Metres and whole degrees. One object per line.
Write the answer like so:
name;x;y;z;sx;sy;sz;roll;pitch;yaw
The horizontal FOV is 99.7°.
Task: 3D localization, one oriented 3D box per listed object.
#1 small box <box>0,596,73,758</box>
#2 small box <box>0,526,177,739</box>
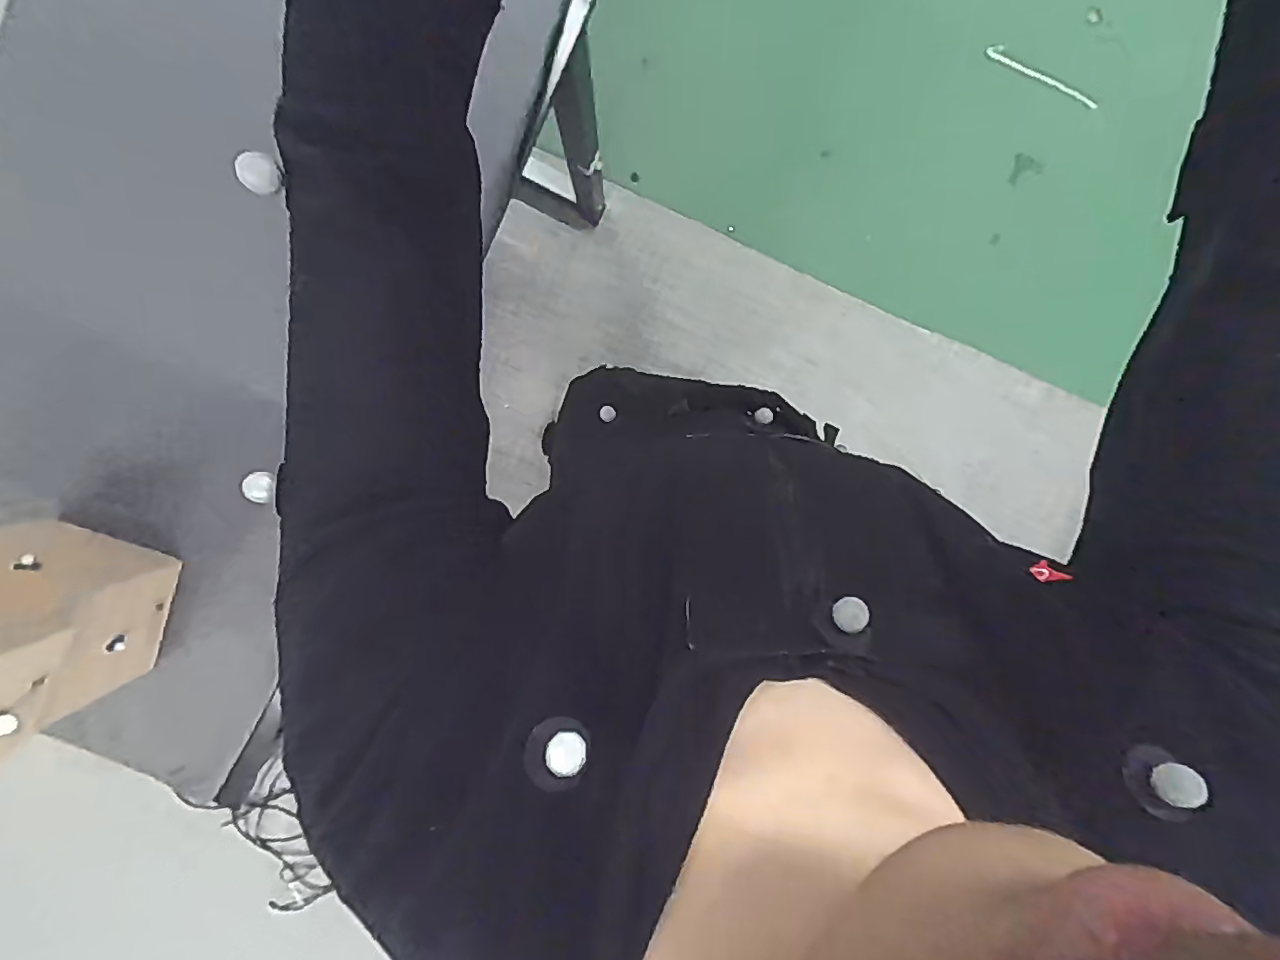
small box;-0.693;0.193;0.480;0.179;0.176;0.168;28;95;-5
small box;-0.714;0.166;0.642;0.179;0.176;0.168;20;95;-4
